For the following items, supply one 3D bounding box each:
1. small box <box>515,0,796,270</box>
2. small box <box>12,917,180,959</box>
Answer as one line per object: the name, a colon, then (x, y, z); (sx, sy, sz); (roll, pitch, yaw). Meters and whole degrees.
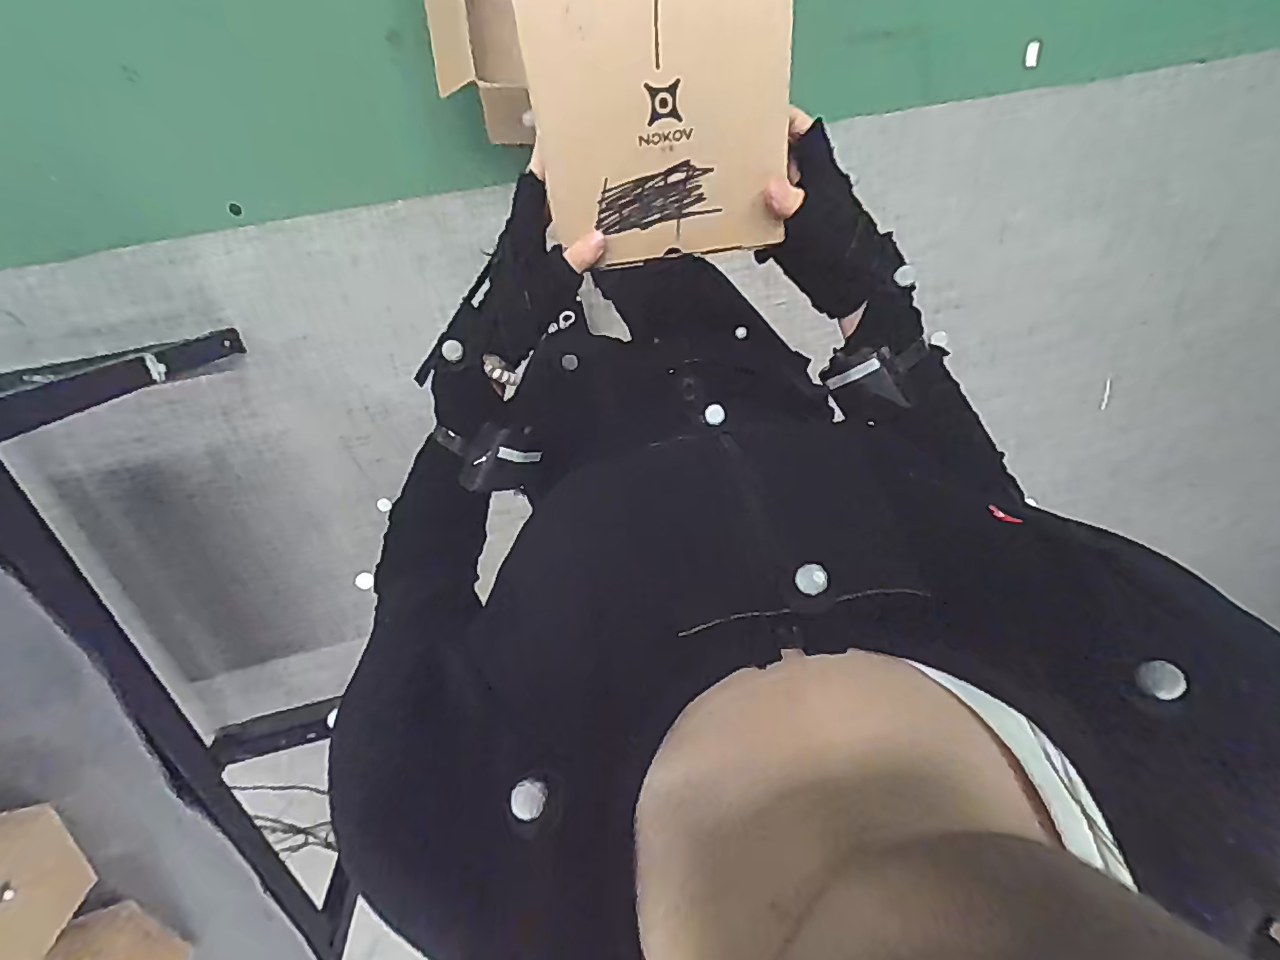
small box: (0.011, -0.280, 0.411); (0.168, 0.176, 0.179); (-9, 125, 1)
small box: (-0.874, 0.815, 0.825); (0.168, 0.176, 0.179); (-18, 115, -4)
